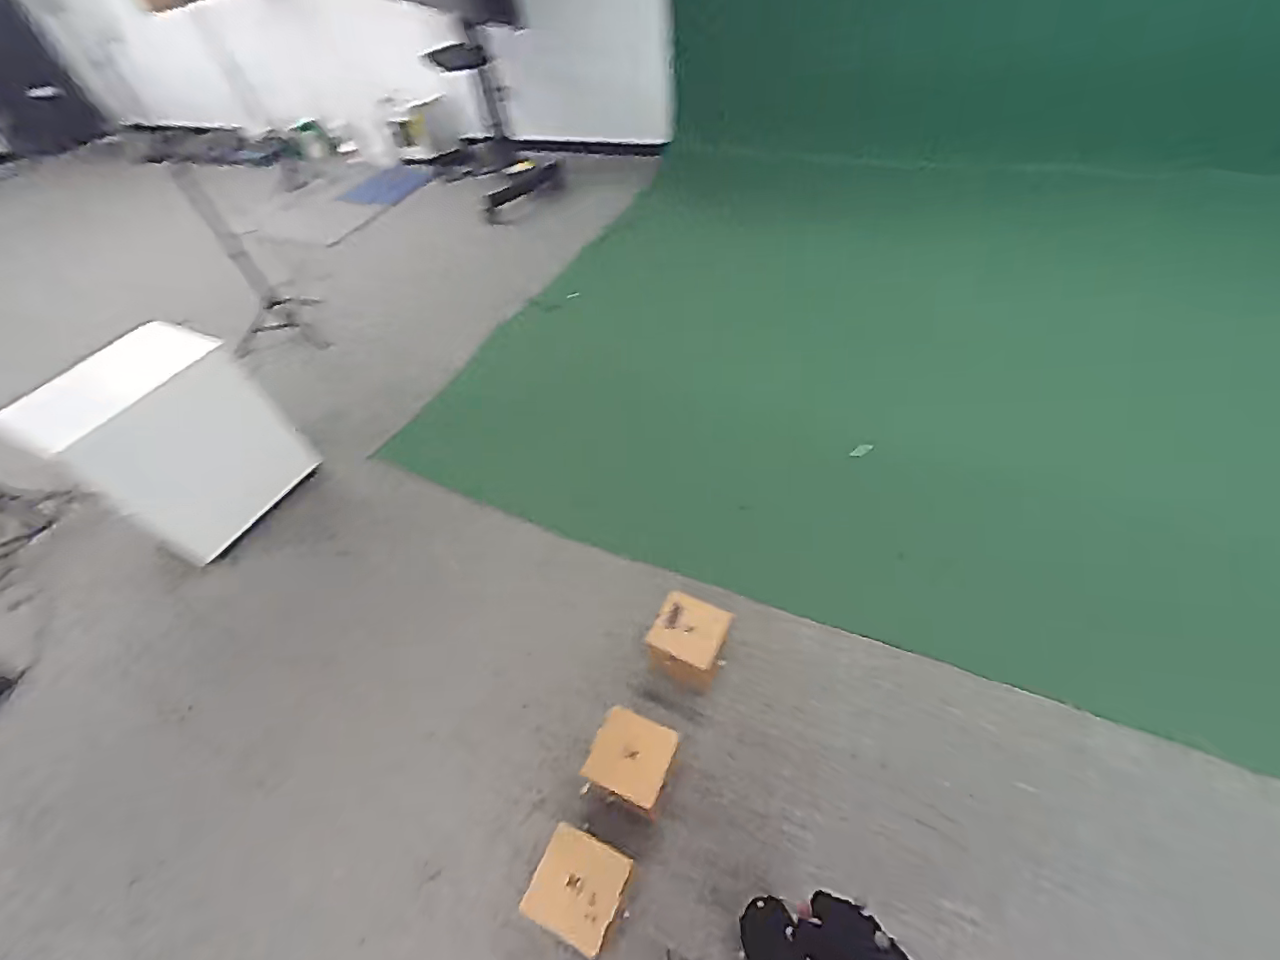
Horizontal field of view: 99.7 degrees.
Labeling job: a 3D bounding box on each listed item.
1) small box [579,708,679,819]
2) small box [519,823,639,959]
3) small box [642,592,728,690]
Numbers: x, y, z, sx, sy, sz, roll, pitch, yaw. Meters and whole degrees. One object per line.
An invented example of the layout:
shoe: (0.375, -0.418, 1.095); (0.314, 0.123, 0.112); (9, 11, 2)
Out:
small box: (-0.016, 0.667, 1.266); (0.179, 0.176, 0.168); (14, 53, 20)
small box: (-0.117, 0.849, 1.118); (0.179, 0.176, 0.168); (16, 54, 20)
small box: (0.124, 0.434, 1.446); (0.179, 0.176, 0.168); (19, 55, 21)
